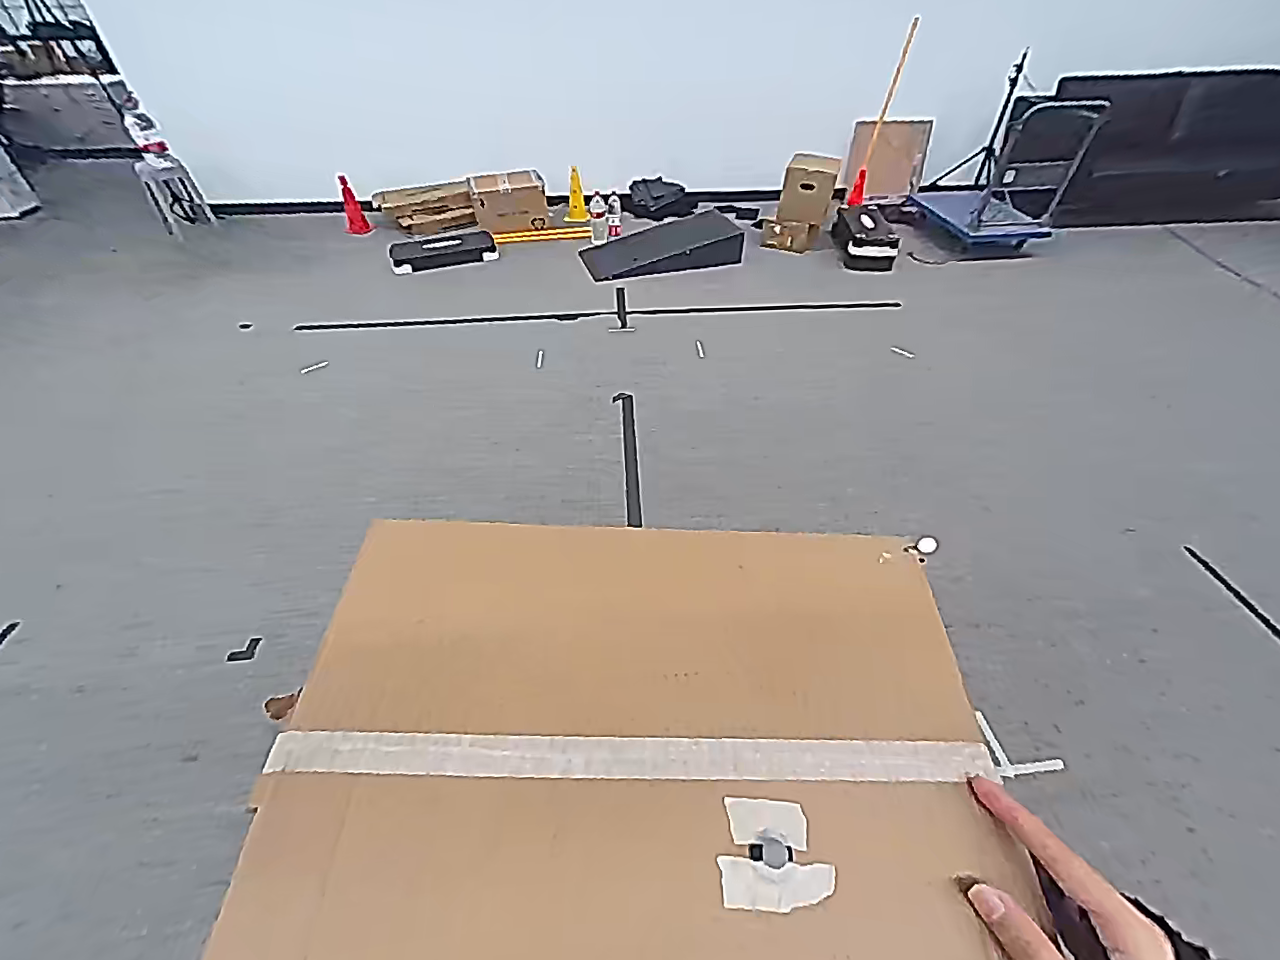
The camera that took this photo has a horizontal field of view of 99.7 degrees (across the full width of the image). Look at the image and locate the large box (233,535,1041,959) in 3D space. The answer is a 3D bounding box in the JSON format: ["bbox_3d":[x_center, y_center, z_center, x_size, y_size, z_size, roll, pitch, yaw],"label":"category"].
[{"bbox_3d":[-0.005,0.257,0.436,0.408,0.320,0.320,2,52,-2],"label":"large box"}]
